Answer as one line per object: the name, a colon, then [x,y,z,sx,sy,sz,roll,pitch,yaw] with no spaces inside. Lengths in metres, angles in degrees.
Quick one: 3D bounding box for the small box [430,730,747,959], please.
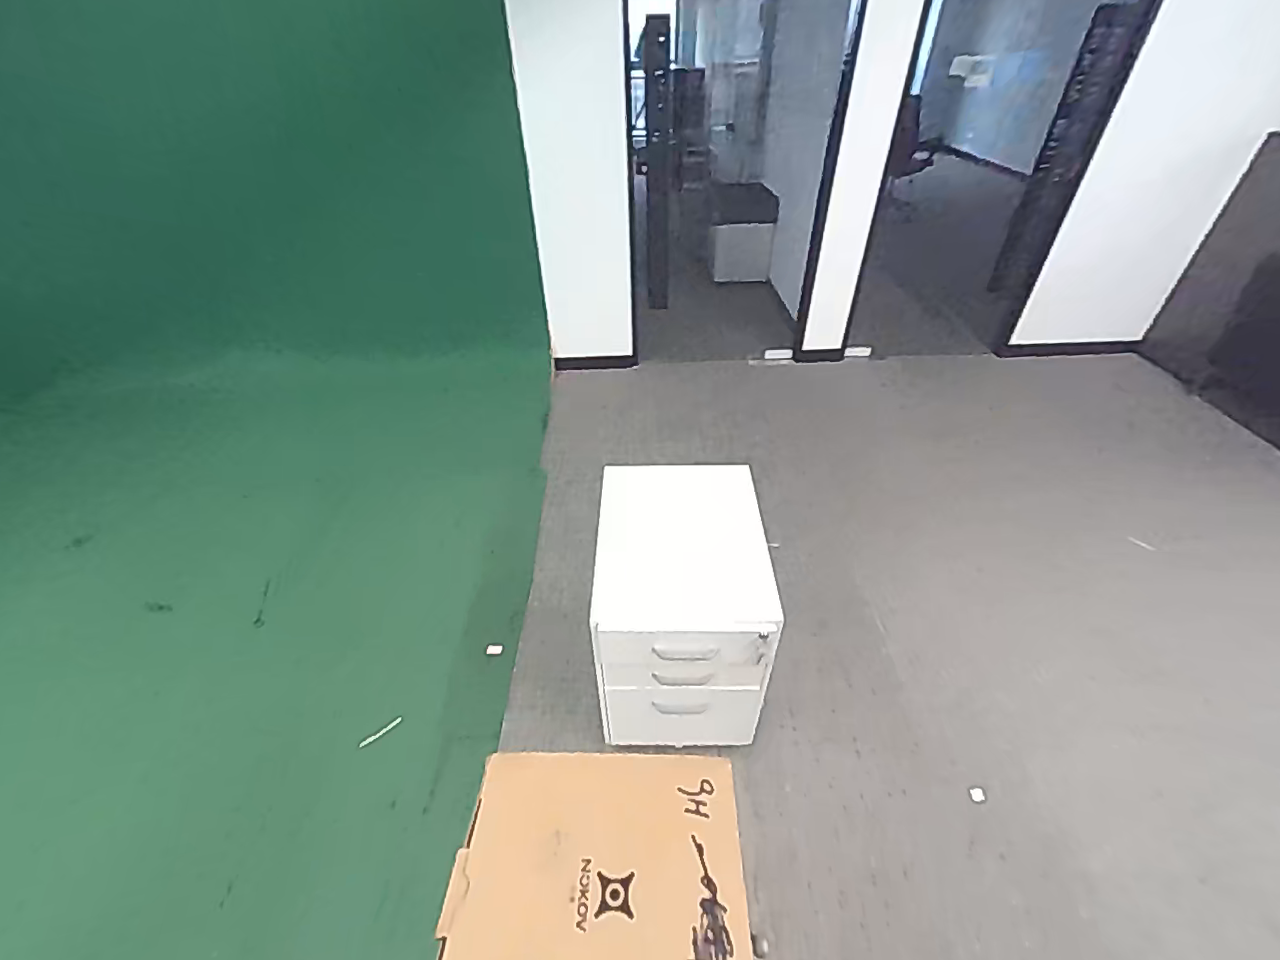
small box: [-0.026,0.301,0.379,0.179,0.176,0.168,2,36,1]
